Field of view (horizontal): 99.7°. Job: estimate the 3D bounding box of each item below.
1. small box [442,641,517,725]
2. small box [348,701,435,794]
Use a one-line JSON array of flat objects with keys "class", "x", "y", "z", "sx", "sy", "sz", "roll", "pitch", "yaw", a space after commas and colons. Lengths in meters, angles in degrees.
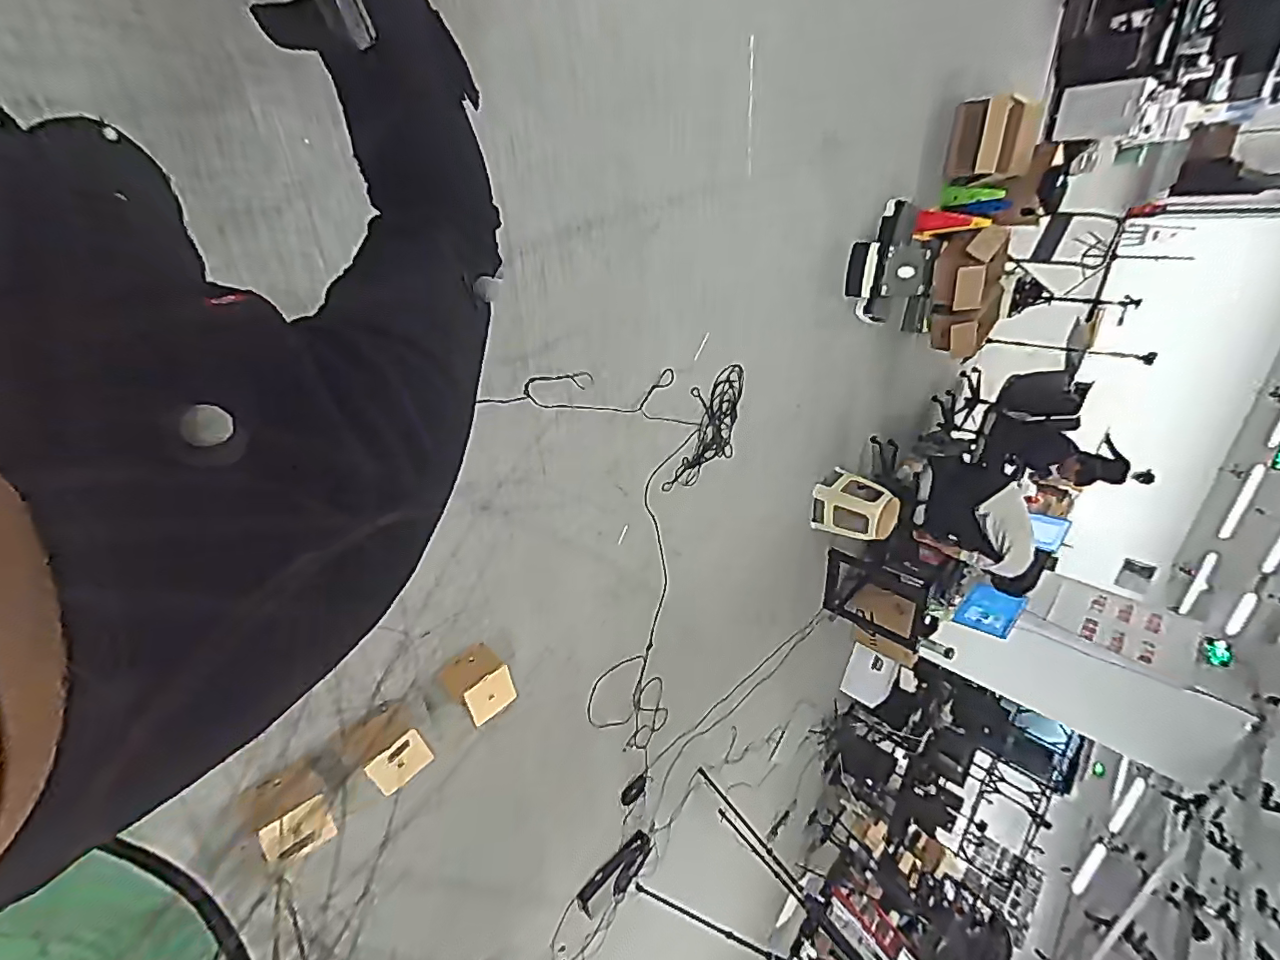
[{"class": "small box", "x": -0.559, "y": 0.700, "z": 1.882, "sx": 0.168, "sy": 0.176, "sz": 0.179, "roll": -32, "pitch": 127, "yaw": -35}, {"class": "small box", "x": -0.783, "y": 0.829, "z": 1.698, "sx": 0.168, "sy": 0.176, "sz": 0.179, "roll": -35, "pitch": 130, "yaw": -32}]
